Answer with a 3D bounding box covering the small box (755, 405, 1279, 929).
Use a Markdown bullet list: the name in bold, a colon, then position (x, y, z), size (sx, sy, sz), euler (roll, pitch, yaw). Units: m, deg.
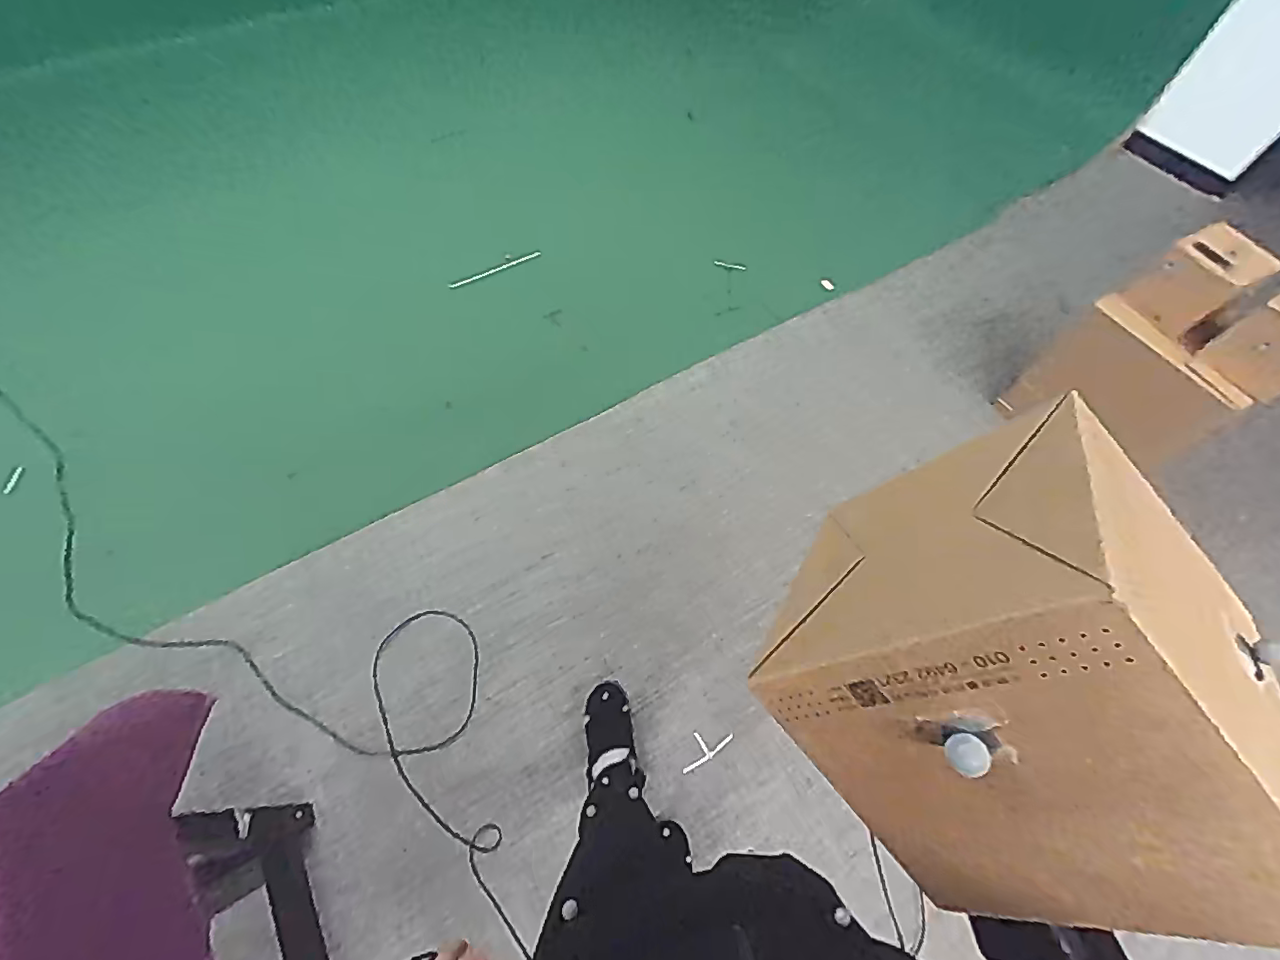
- **small box**: position (0.195, 0.086, 0.293), size (0.176, 0.168, 0.179), euler (49, 44, -2)
